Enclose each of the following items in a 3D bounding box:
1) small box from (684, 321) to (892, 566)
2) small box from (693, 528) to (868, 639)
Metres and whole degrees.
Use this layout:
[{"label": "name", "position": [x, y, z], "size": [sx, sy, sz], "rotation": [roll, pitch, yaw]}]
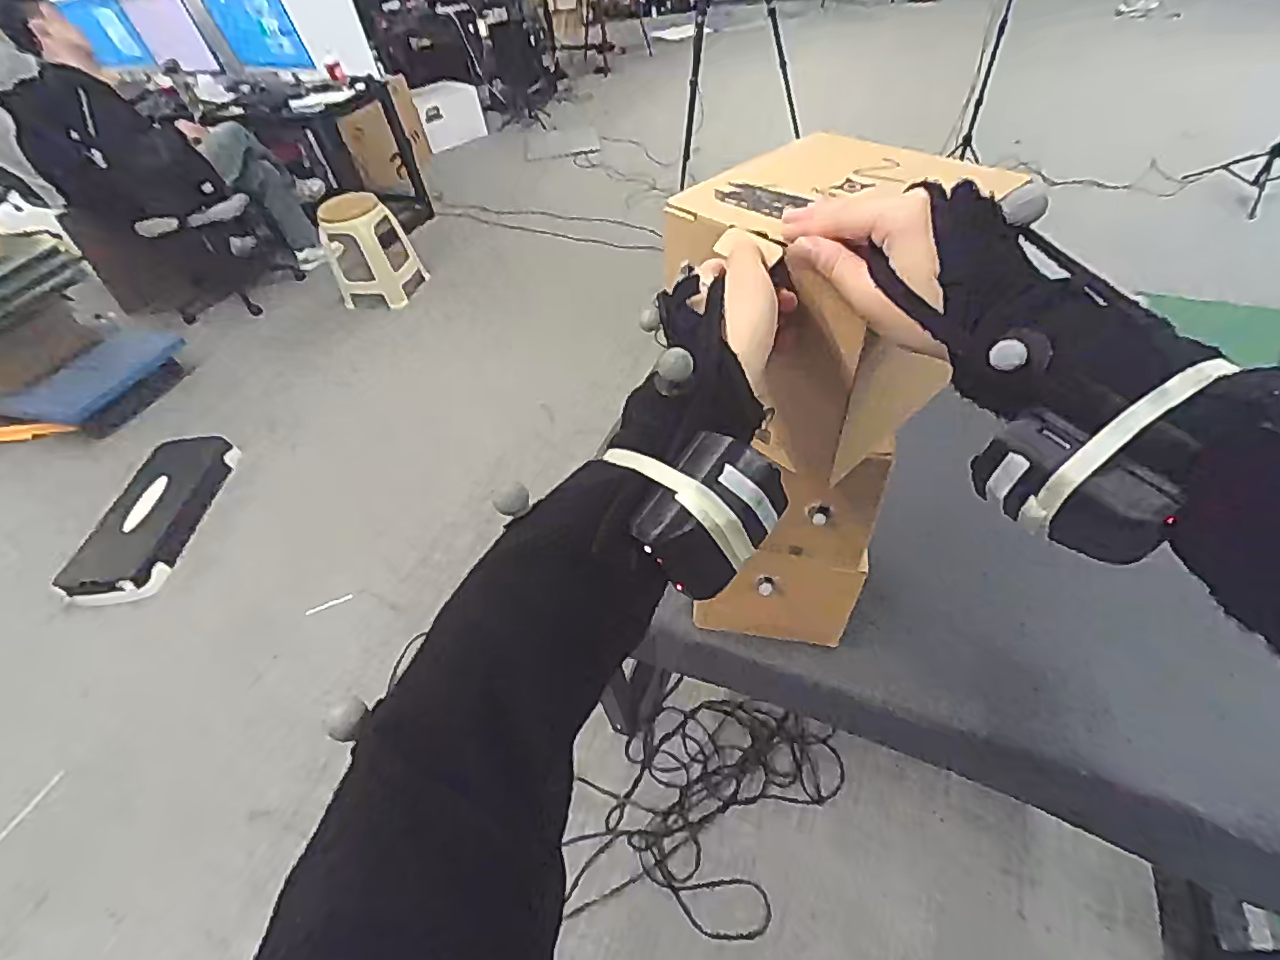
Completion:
[{"label": "small box", "position": [0.144, -0.036, 0.542], "size": [0.168, 0.176, 0.179], "rotation": [8, 48, 13]}, {"label": "small box", "position": [0.164, 0.076, 0.657], "size": [0.179, 0.176, 0.168], "rotation": [5, 49, 13]}]
